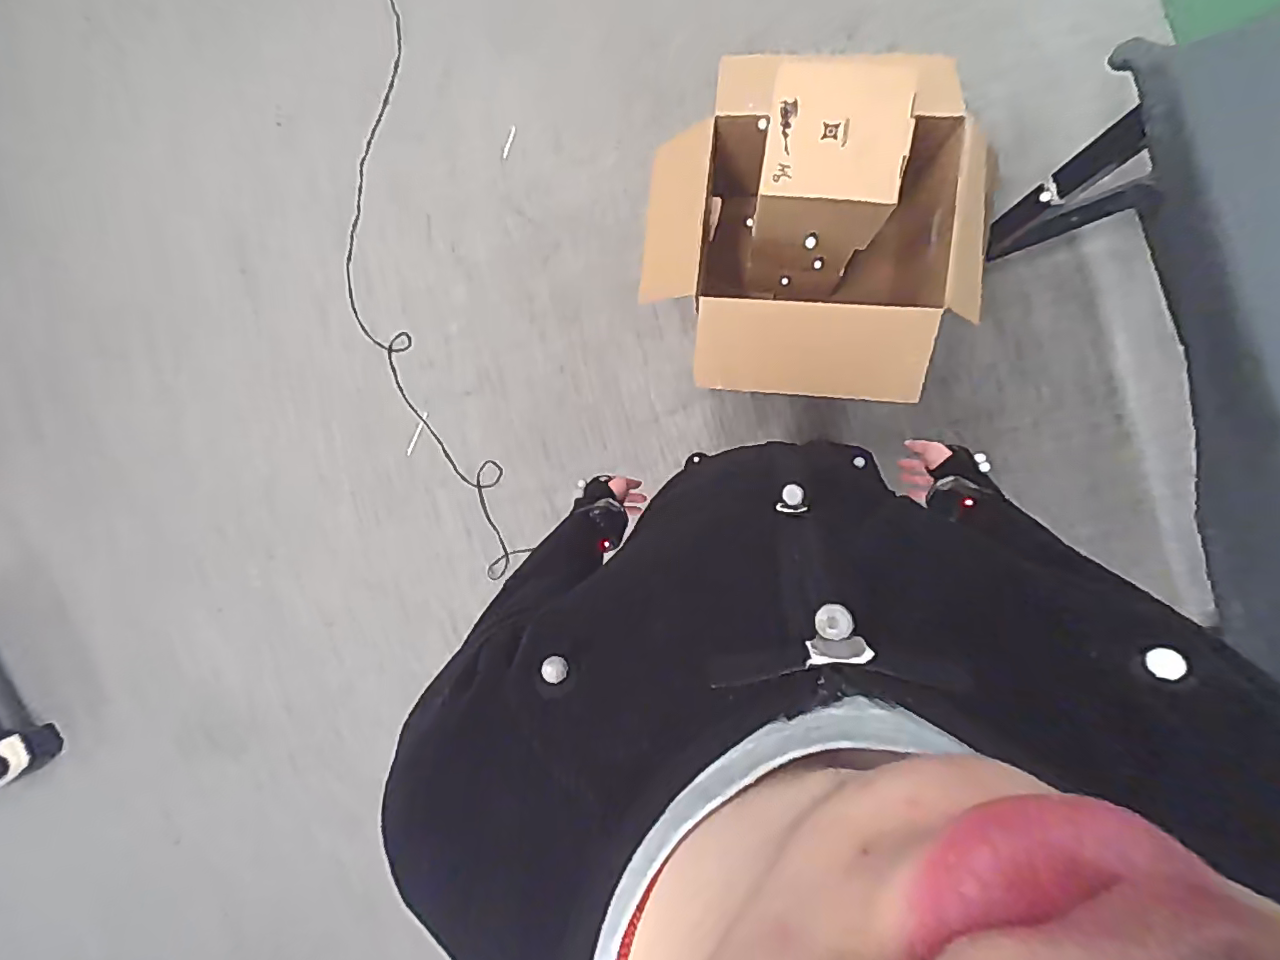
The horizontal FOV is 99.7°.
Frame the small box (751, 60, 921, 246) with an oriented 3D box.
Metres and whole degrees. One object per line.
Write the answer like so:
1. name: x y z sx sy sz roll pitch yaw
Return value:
1. small box: 0.261 -0.444 0.761 0.179 0.176 0.168 9 96 8
